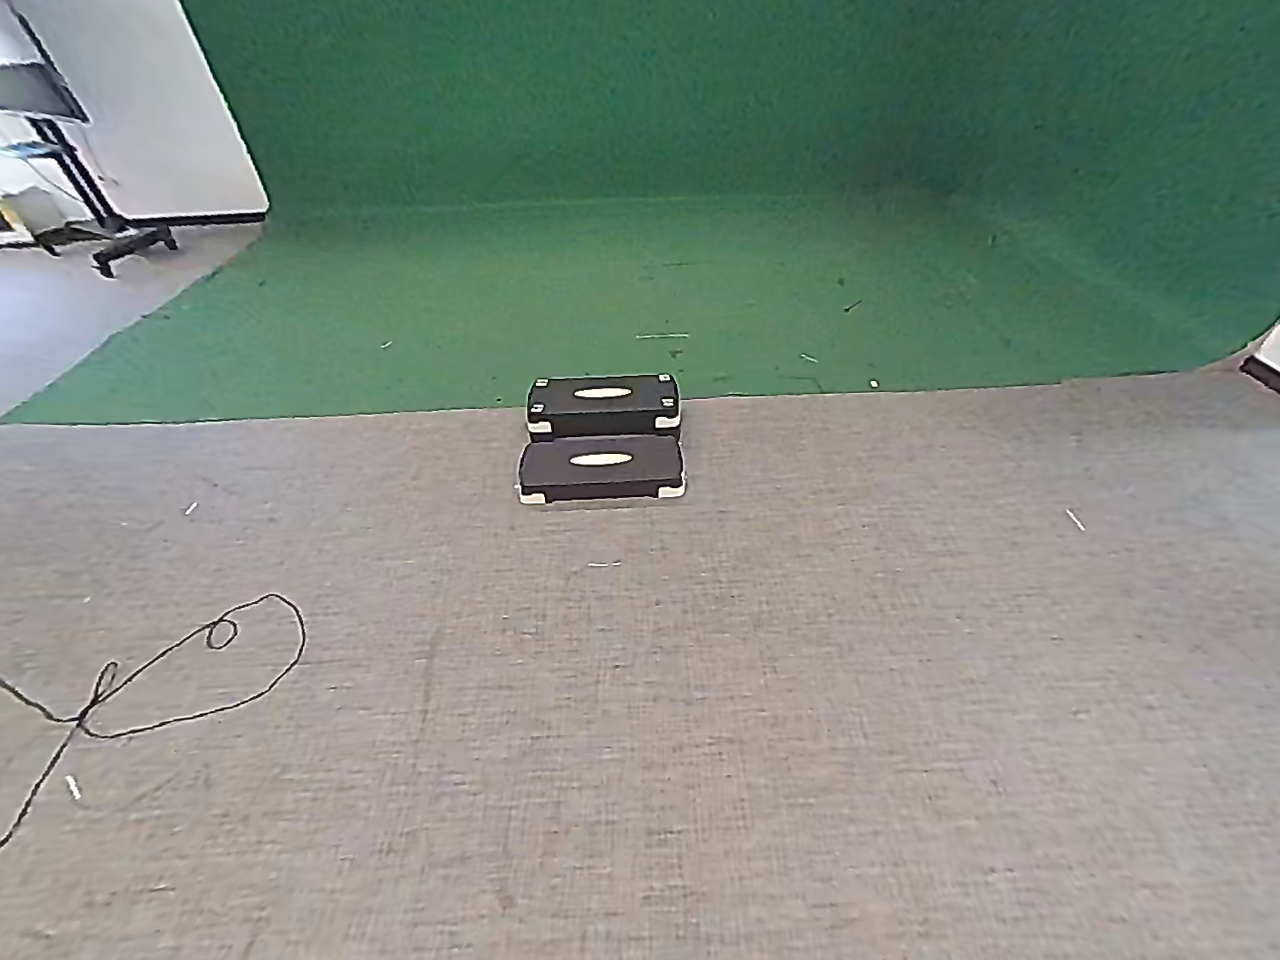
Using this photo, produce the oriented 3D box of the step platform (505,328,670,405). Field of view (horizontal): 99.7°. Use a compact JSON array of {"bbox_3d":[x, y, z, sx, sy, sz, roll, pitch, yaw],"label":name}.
[{"bbox_3d":[-0.215,-0.488,2.319,0.684,0.204,0.286,-3,43,0],"label":"step platform"}]
